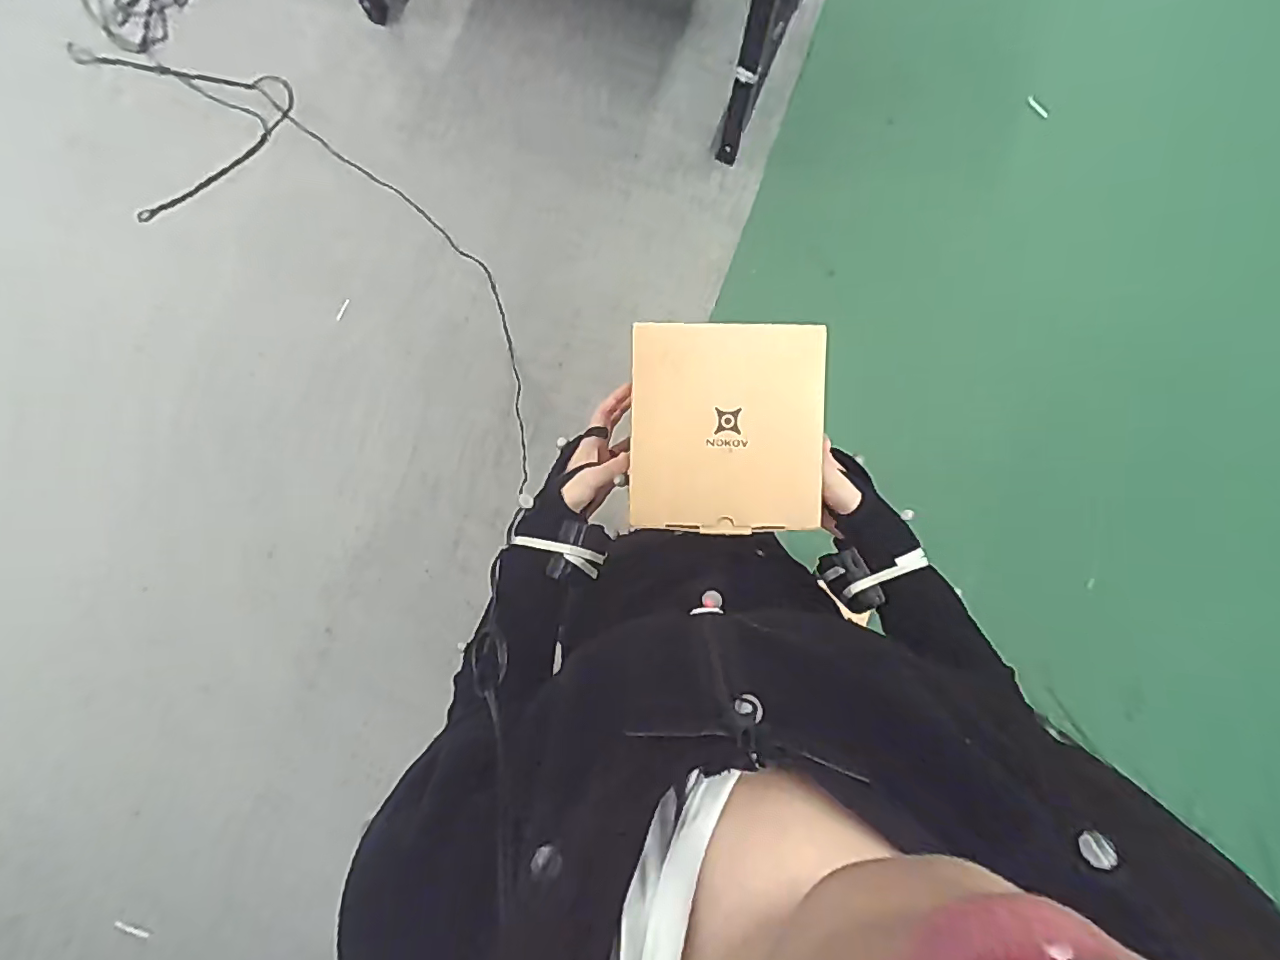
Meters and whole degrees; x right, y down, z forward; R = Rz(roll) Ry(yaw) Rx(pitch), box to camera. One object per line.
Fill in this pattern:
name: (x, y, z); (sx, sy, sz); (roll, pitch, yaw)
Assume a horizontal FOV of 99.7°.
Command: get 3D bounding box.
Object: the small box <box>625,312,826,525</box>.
small box: (0.070, -0.052, 0.528); (0.168, 0.176, 0.179); (0, 92, -1)
